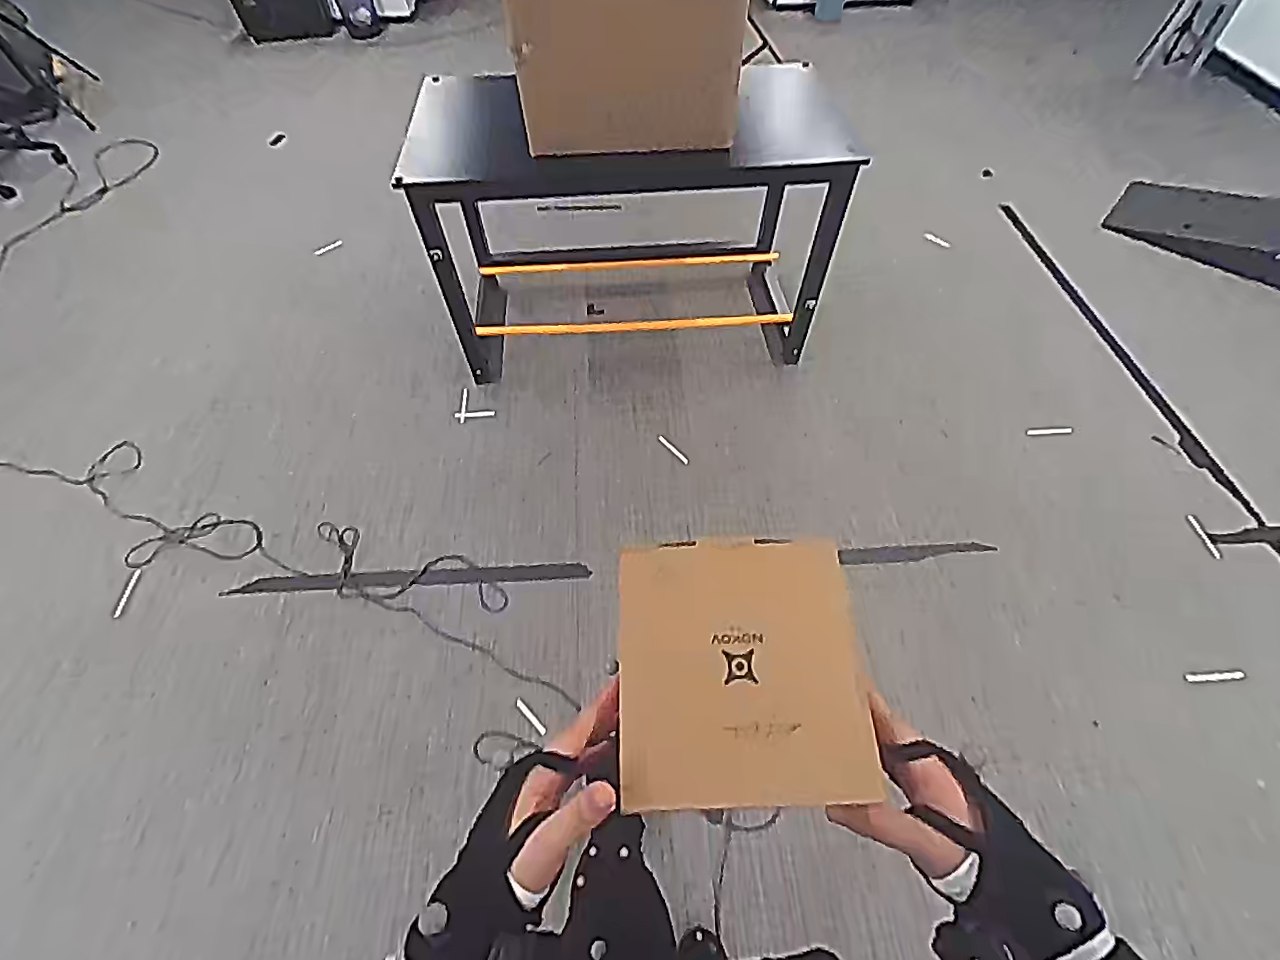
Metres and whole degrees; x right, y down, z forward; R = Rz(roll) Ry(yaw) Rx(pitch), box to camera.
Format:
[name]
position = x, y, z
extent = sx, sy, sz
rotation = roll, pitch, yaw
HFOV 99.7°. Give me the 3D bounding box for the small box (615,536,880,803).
[small box]
position = 0.066, 0.158, 0.440
extent = 0.168, 0.176, 0.179
rotation = -2, 62, 1
